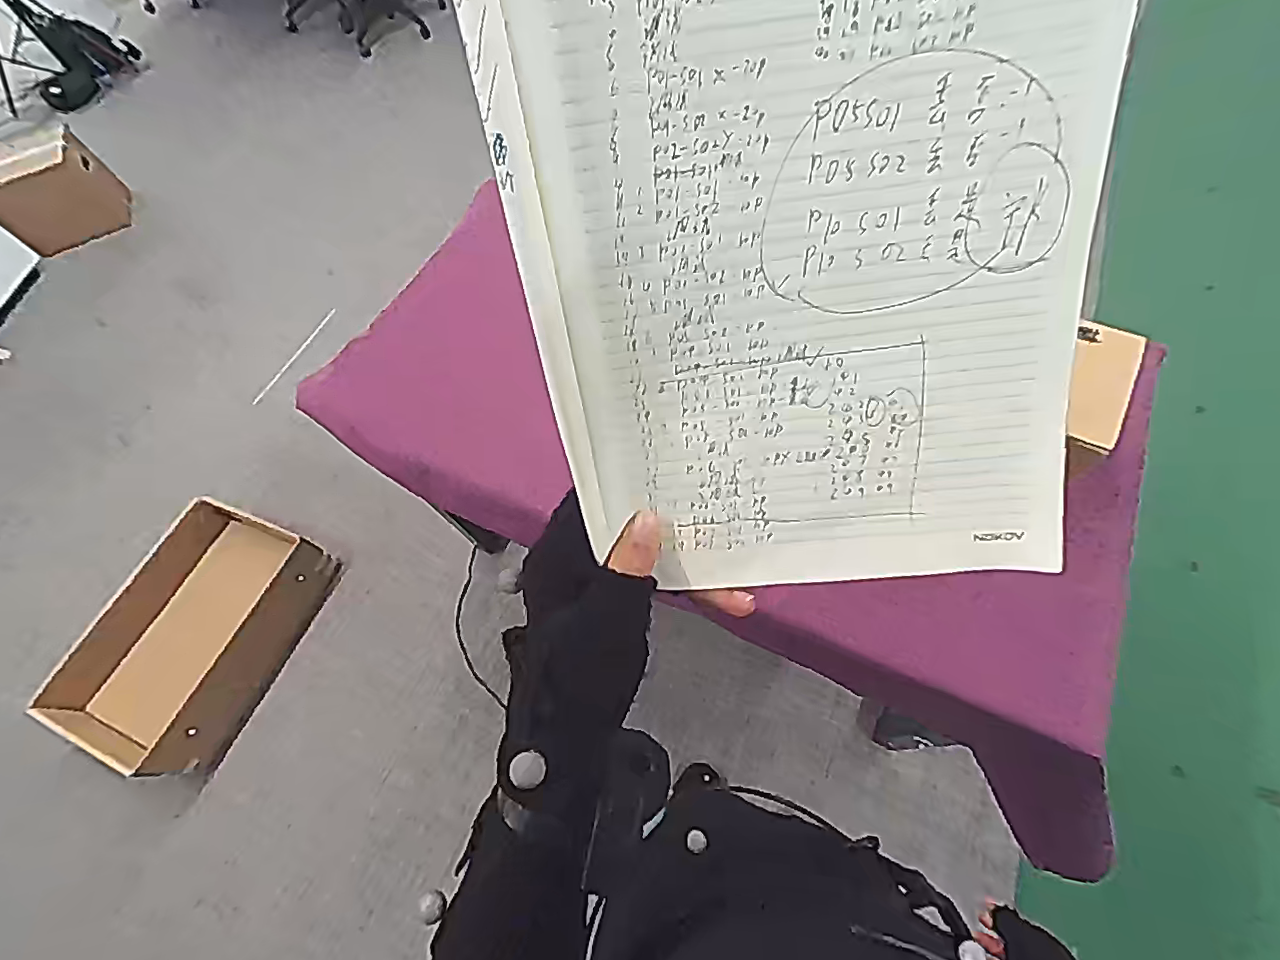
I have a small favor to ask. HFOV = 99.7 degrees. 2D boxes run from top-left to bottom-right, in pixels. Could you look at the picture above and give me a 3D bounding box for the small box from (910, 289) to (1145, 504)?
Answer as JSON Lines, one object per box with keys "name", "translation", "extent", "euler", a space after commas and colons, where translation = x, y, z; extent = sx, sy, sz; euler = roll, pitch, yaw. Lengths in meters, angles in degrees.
{"name": "small box", "translation": [0.466, -0.097, 0.679], "extent": [0.168, 0.176, 0.179], "euler": [28, 70, 20]}
